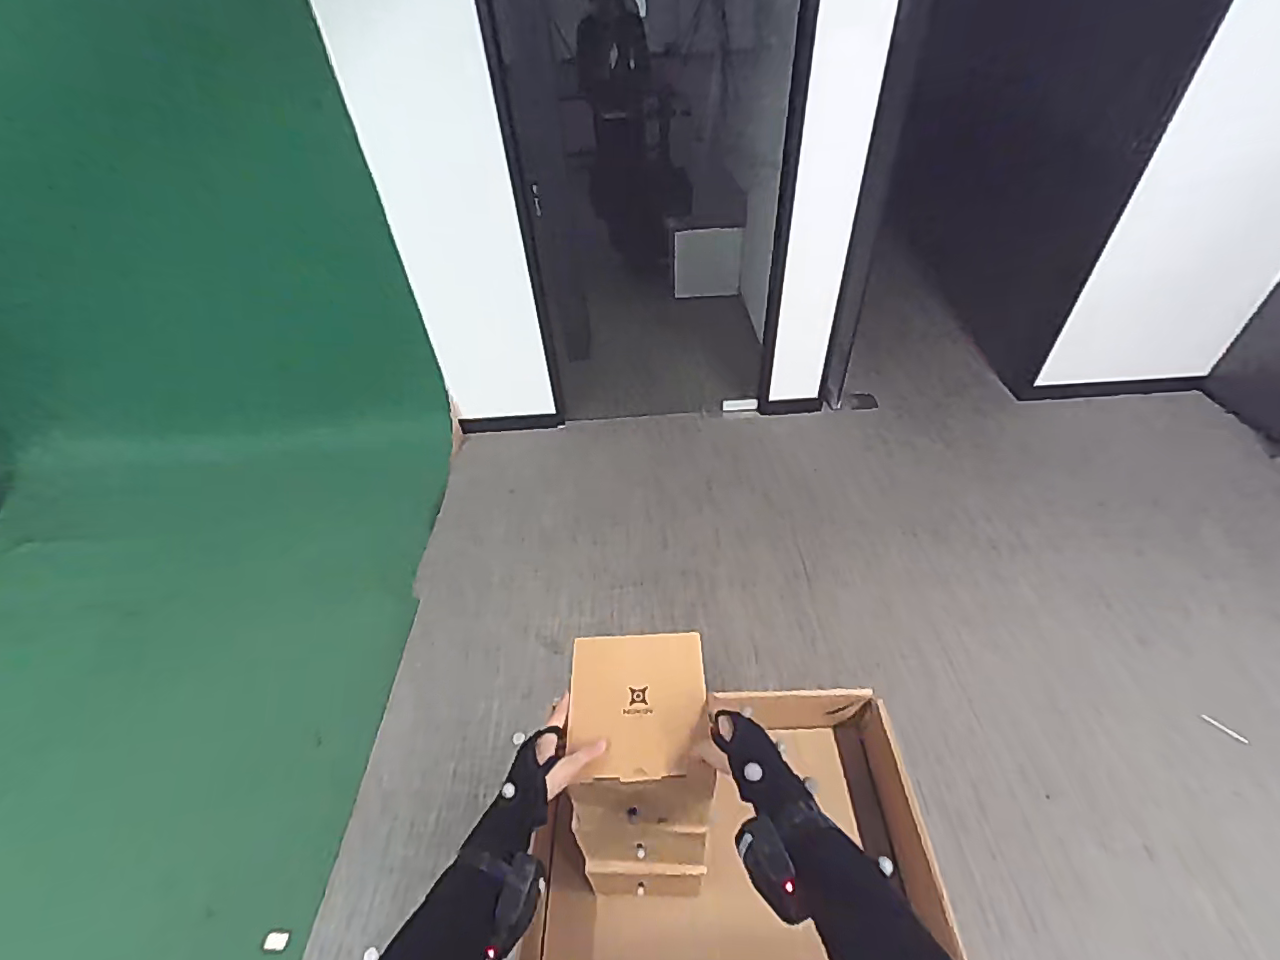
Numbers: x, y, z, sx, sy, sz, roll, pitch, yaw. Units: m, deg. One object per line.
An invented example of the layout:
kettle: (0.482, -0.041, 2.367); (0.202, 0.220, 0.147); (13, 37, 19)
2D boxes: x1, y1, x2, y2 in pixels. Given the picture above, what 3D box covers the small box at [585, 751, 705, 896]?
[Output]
small box: (0.013, 0.569, 0.896); (0.179, 0.176, 0.168); (-1, 42, 3)
